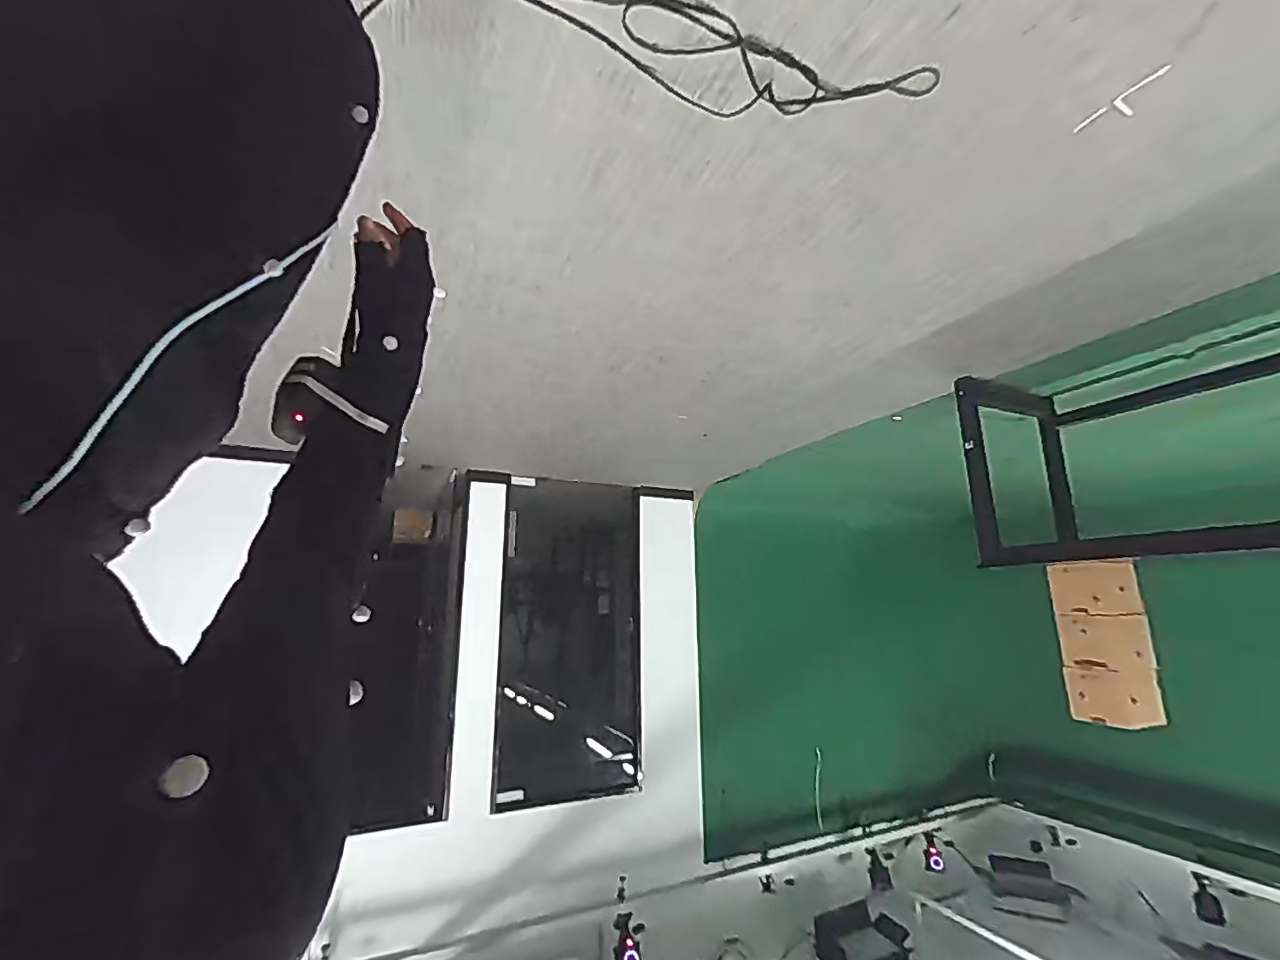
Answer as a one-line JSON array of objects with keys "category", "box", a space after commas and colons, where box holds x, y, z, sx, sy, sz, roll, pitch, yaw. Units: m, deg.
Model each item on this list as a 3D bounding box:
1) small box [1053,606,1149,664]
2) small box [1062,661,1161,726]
[{"category": "small box", "box": [1.504, 0.501, 1.770, 0.179, 0.176, 0.168, 3, 166, -18]}, {"category": "small box", "box": [1.506, 0.678, 1.737, 0.179, 0.176, 0.168, 2, 167, -19]}]
